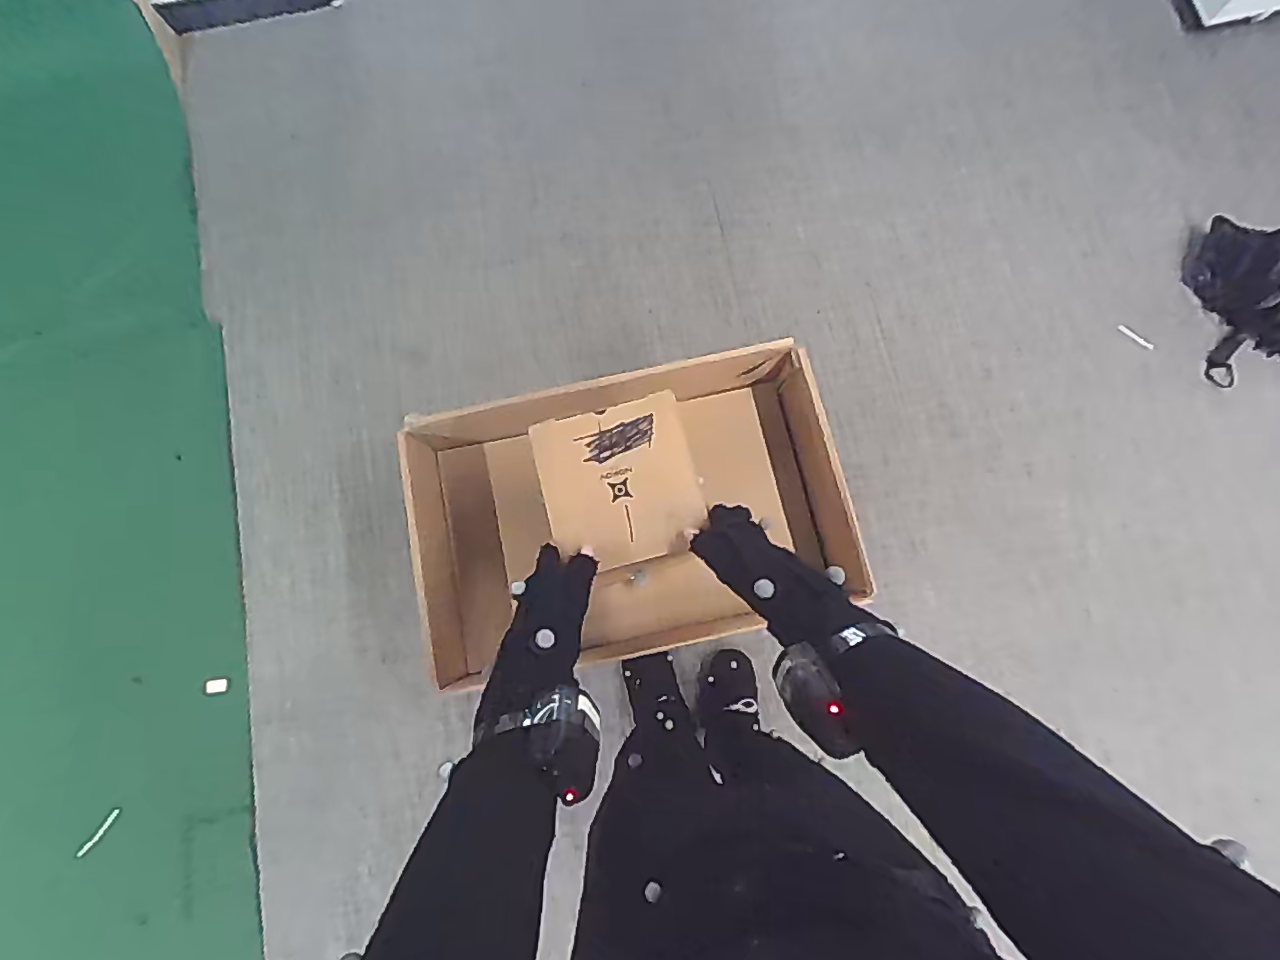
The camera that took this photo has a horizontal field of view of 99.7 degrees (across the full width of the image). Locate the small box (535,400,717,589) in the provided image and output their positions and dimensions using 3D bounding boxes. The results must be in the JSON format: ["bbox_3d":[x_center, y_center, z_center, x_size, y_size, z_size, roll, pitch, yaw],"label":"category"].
[{"bbox_3d":[-0.016,0.028,0.658,0.168,0.176,0.179,-15,78,-1],"label":"small box"}]
